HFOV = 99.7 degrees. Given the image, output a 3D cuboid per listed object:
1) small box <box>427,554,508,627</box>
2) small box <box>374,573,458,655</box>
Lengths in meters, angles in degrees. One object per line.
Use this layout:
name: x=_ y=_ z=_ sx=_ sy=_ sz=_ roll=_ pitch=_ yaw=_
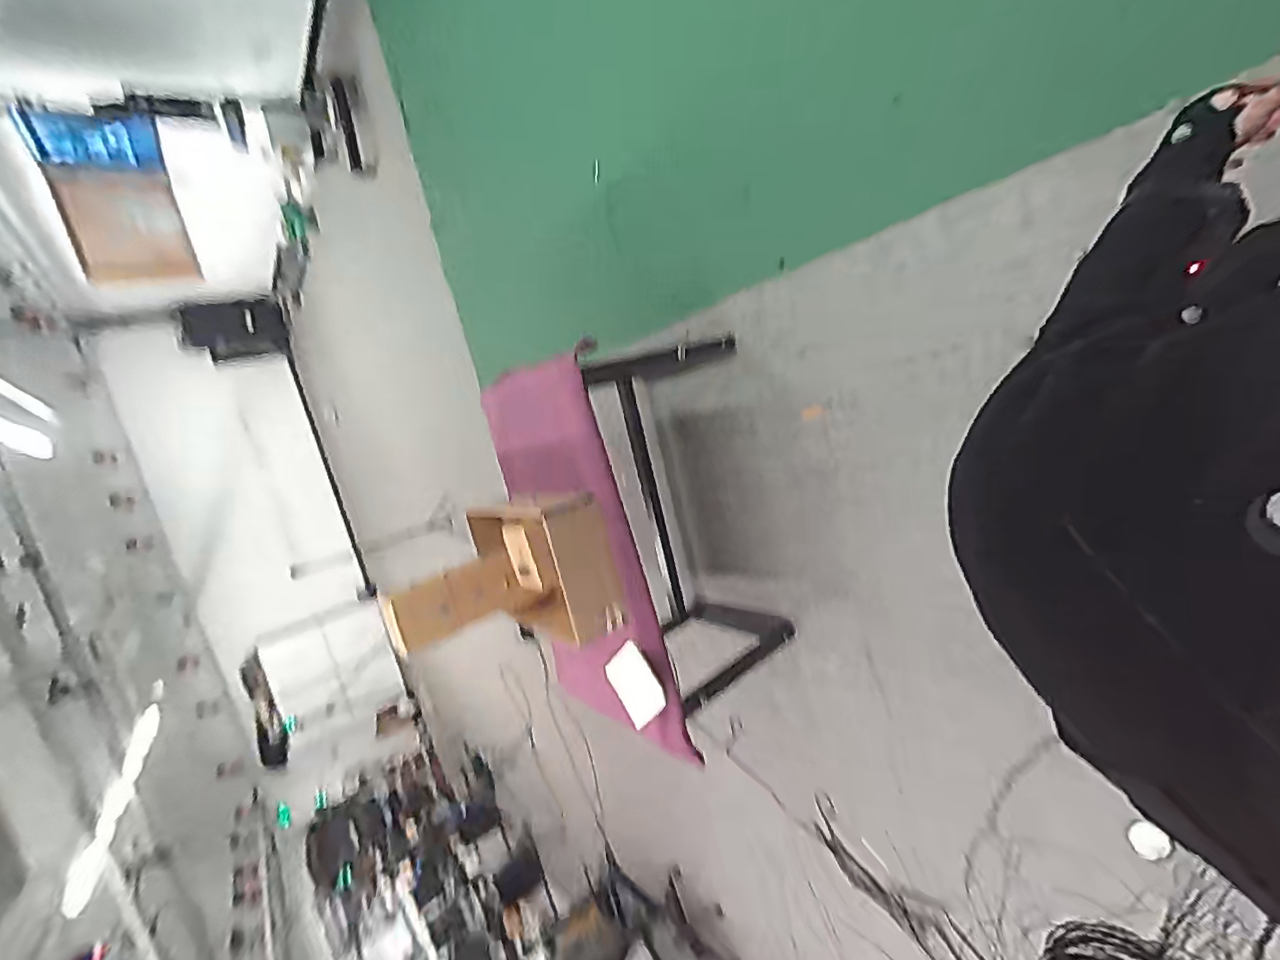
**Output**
small box: x=-0.549 y=0.344 z=1.726 sx=0.168 sy=0.176 sz=0.179 roll=-7 pitch=102 yaw=52
small box: x=-0.673 y=0.394 z=1.630 sx=0.168 sy=0.176 sz=0.179 roll=-3 pitch=103 yaw=52
